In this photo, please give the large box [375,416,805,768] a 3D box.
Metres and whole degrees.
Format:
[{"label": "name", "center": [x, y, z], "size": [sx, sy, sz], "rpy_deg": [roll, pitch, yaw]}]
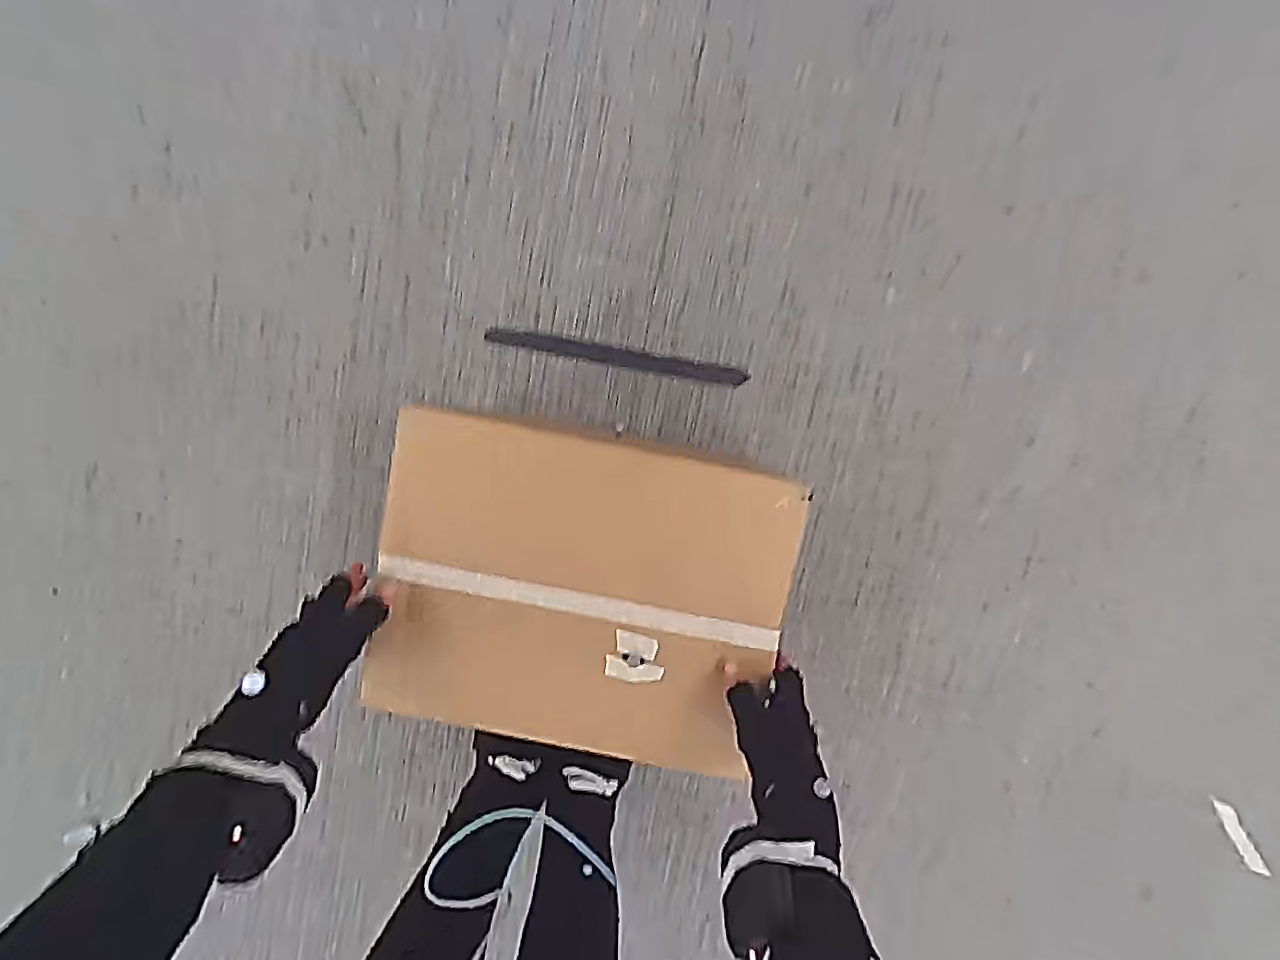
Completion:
[{"label": "large box", "center": [-0.057, 0.104, 0.697], "size": [0.408, 0.320, 0.320], "rpy_deg": [11, 97, 0]}]
